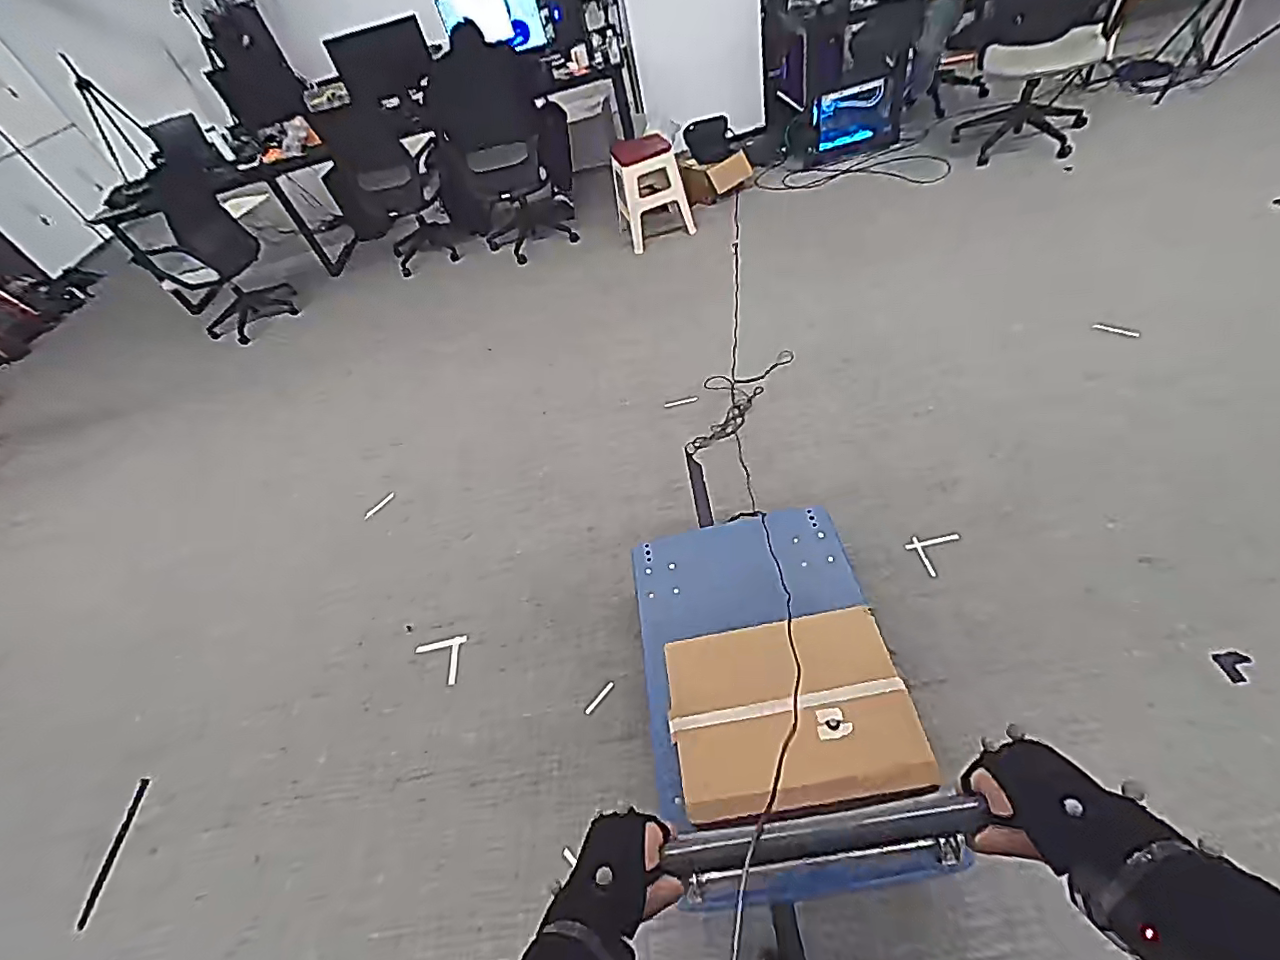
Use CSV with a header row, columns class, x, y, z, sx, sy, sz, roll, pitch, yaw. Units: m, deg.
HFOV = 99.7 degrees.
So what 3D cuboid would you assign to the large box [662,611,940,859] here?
class,x,y,z,sx,sy,sz,roll,pitch,yaw
large box,0.281,0.501,1.049,0.408,0.320,0.320,-13,48,5
